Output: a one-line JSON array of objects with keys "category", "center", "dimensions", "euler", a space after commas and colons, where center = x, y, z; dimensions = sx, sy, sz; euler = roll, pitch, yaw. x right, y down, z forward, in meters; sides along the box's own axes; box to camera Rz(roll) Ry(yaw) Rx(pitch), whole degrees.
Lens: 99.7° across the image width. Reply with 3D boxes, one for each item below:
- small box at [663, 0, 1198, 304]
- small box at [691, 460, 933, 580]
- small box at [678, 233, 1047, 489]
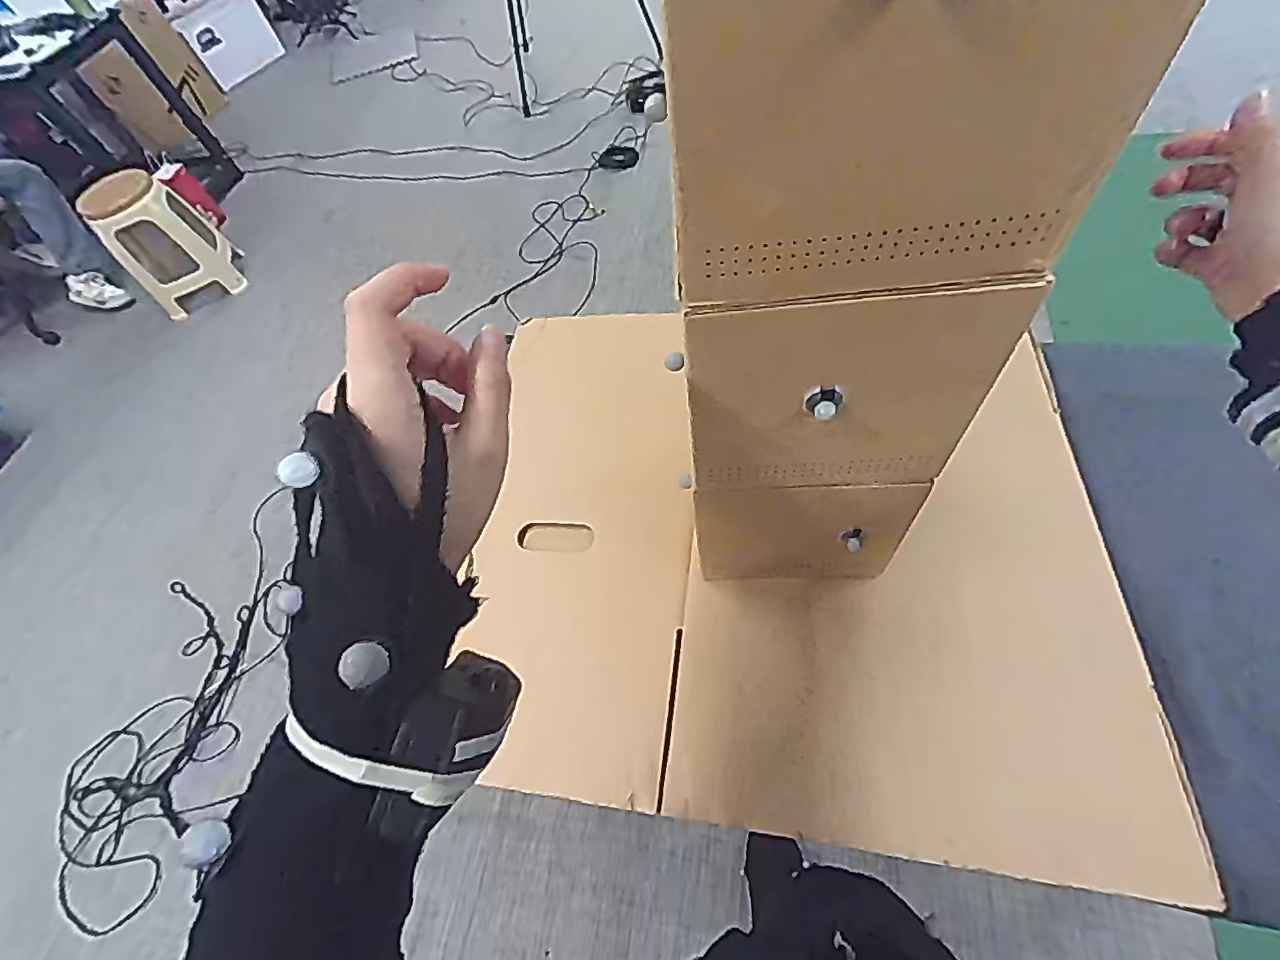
[{"category": "small box", "center": [0.100, -0.202, 0.241], "dimensions": [0.179, 0.176, 0.168], "euler": [-4, 55, 7]}, {"category": "small box", "center": [0.138, -0.014, 0.506], "dimensions": [0.179, 0.176, 0.168], "euler": [-3, 55, 8]}, {"category": "small box", "center": [0.118, -0.107, 0.372], "dimensions": [0.179, 0.176, 0.168], "euler": [-4, 55, 7]}]
